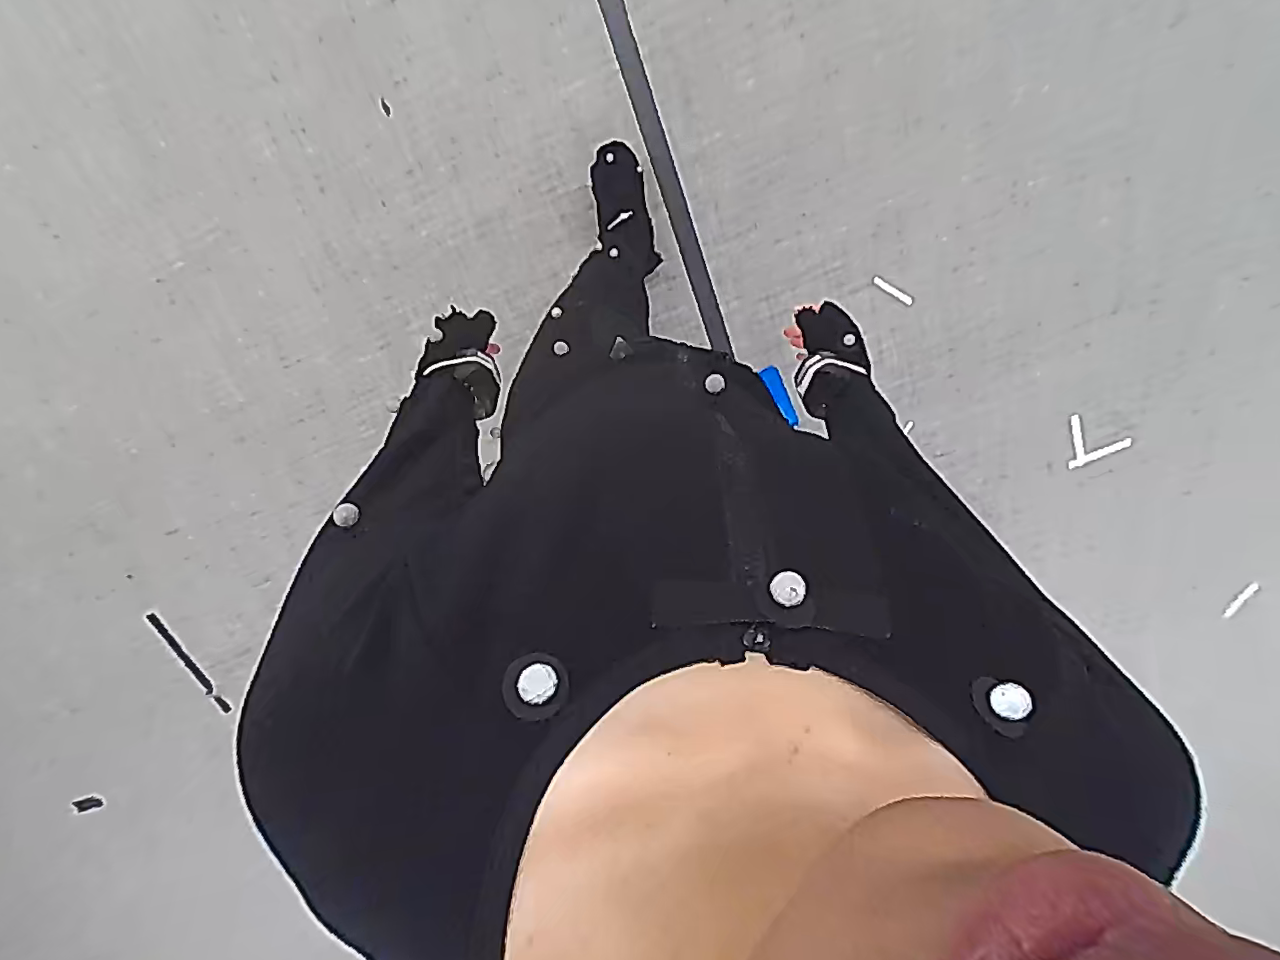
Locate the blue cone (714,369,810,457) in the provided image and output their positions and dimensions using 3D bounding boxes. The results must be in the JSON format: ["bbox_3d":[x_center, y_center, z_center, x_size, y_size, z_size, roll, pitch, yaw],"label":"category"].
[{"bbox_3d":[0.316,-0.124,1.295,0.192,0.380,0.193,-24,110,6],"label":"blue cone"}]
